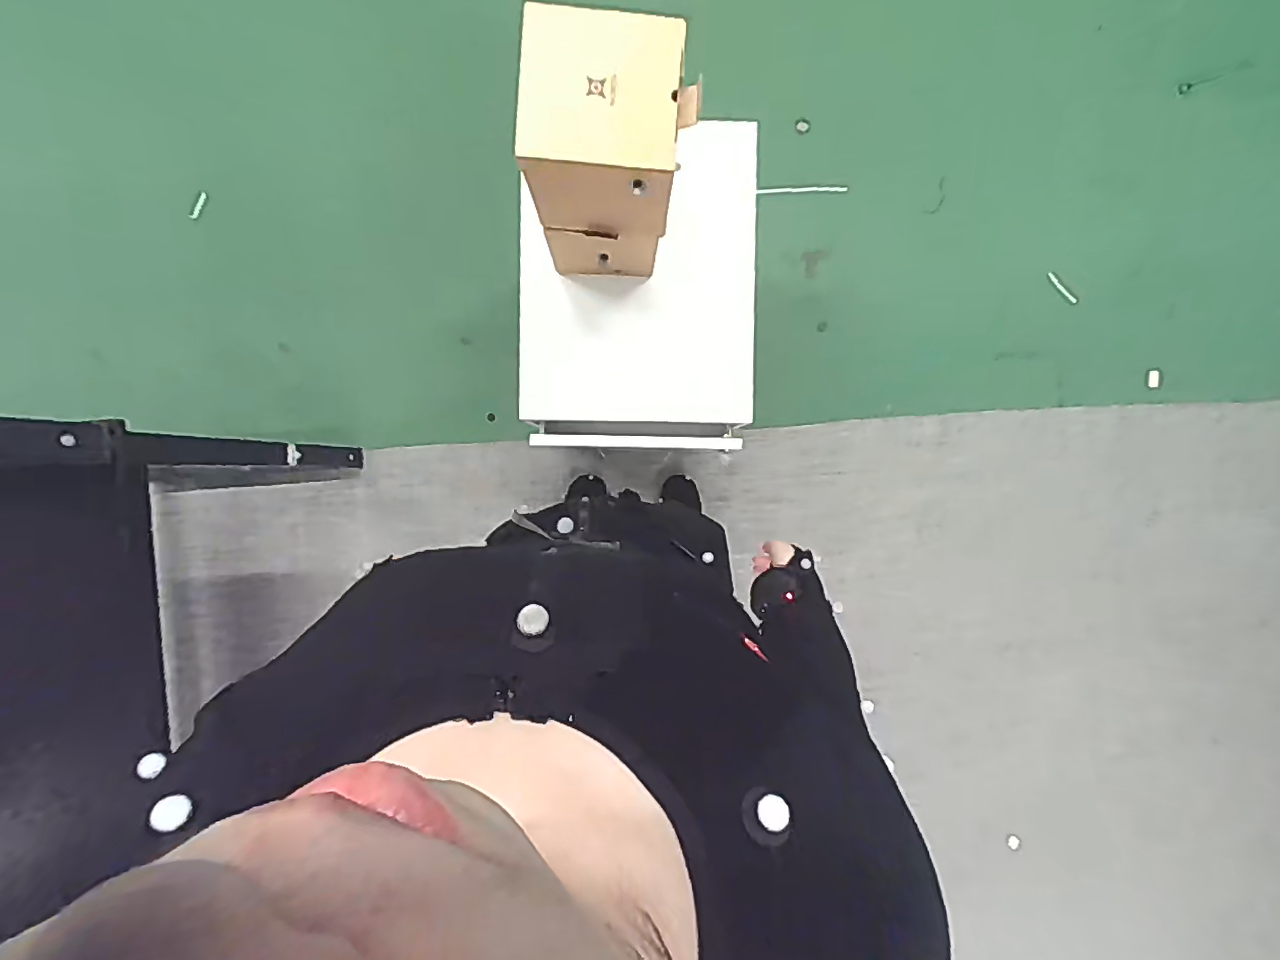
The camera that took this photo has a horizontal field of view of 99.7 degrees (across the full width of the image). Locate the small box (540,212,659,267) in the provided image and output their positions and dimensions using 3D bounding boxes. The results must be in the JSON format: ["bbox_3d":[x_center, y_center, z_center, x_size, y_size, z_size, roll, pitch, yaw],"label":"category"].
[{"bbox_3d":[-0.053,-0.432,0.808,0.168,0.176,0.179,1,92,-2],"label":"small box"}]

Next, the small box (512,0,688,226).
[{"bbox_3d":[-0.044,-0.423,0.645,0.179,0.176,0.168,4,92,-3],"label":"small box"}]
